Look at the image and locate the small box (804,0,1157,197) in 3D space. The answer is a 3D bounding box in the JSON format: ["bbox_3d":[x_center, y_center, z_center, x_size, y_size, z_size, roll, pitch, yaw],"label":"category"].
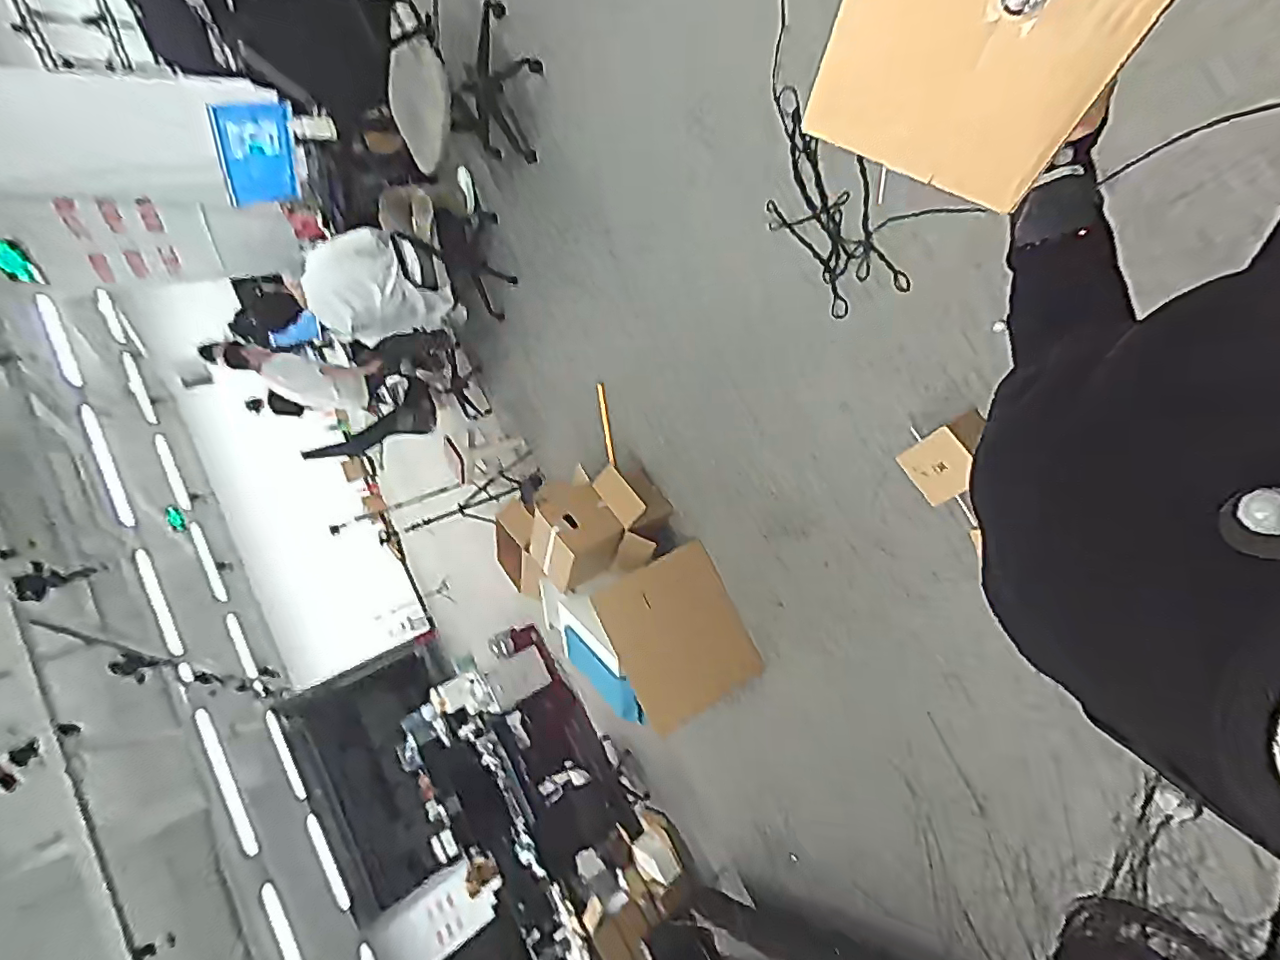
[{"bbox_3d":[0.243,-0.338,0.359,0.168,0.179,0.176,31,154,11],"label":"small box"}]

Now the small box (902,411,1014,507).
[{"bbox_3d":[0.851,-0.059,1.438,0.168,0.176,0.179,58,147,14],"label":"small box"}]
